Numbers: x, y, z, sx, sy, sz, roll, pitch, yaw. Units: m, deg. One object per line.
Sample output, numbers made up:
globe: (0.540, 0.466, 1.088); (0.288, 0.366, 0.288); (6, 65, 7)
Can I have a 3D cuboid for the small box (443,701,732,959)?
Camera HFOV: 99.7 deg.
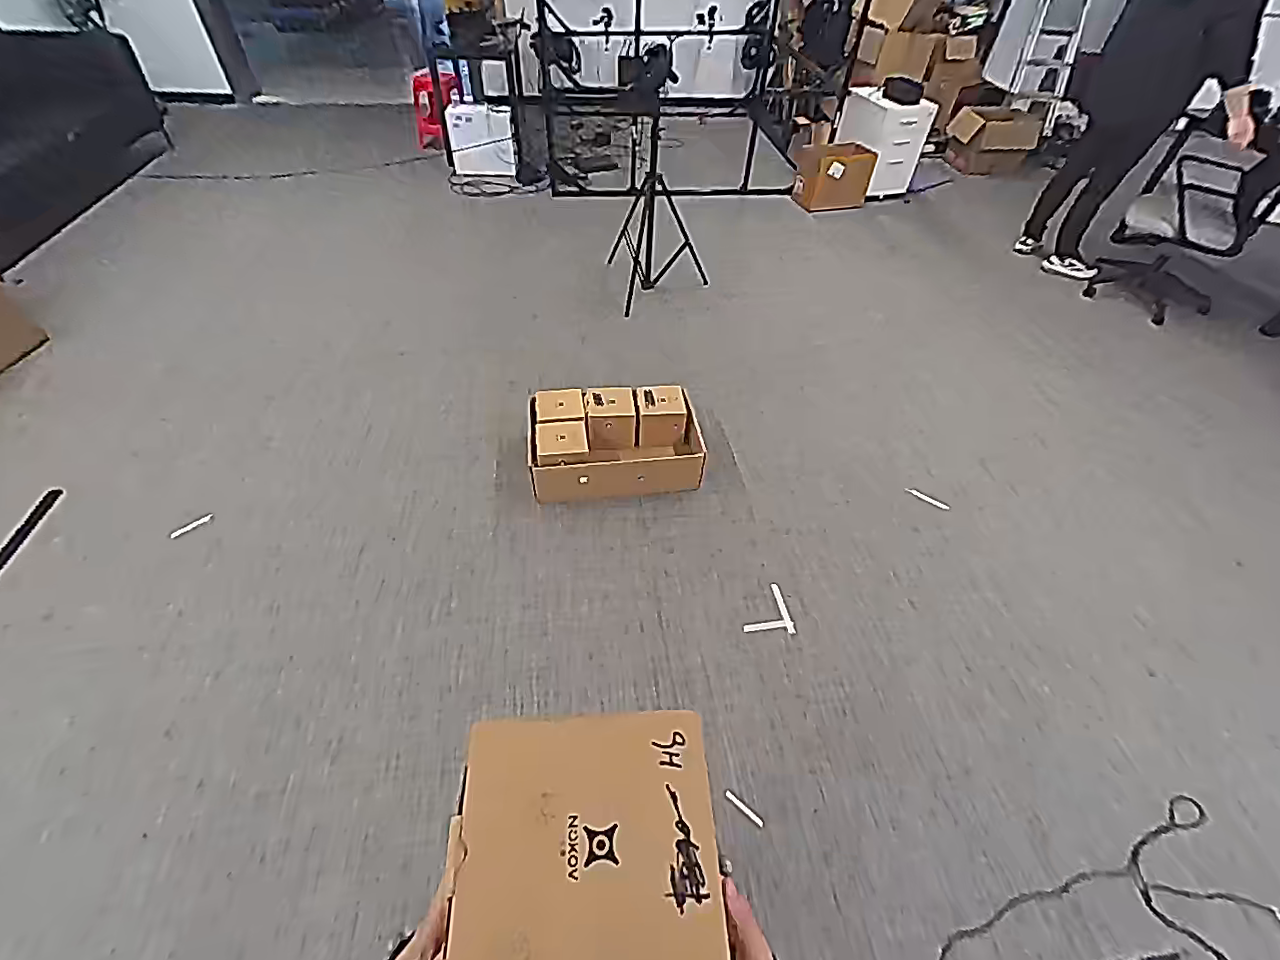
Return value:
small box: (-0.037, 0.283, 0.425); (0.179, 0.176, 0.168); (-1, 55, -5)
